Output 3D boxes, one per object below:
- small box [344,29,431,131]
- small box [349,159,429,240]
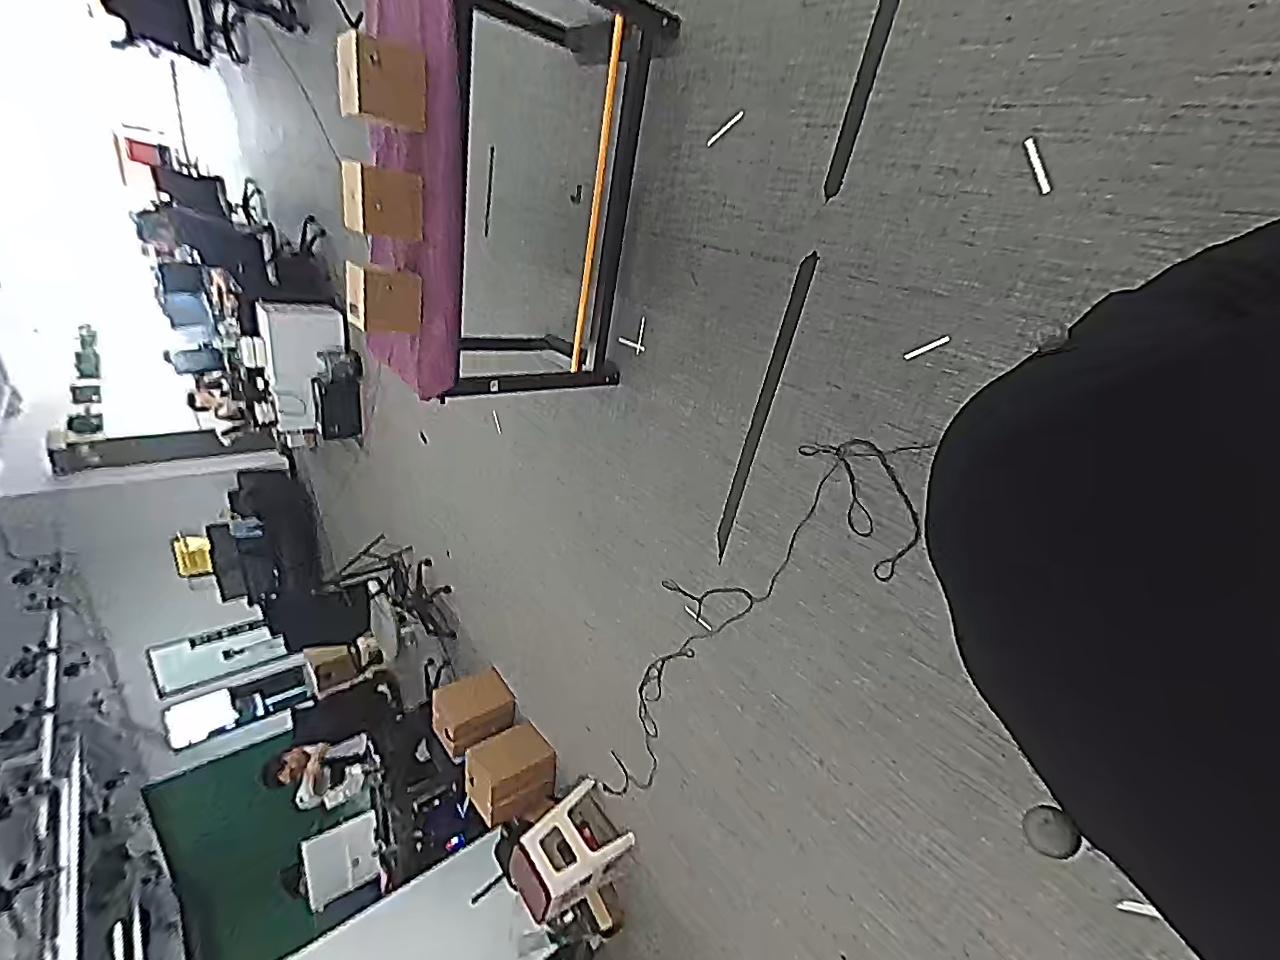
[{"bbox_3d":[-0.660,-1.040,1.420,0.168,0.176,0.179,35,125,41],"label":"small box"},{"bbox_3d":[-0.720,-0.805,1.557,0.168,0.176,0.179,34,125,39],"label":"small box"}]
